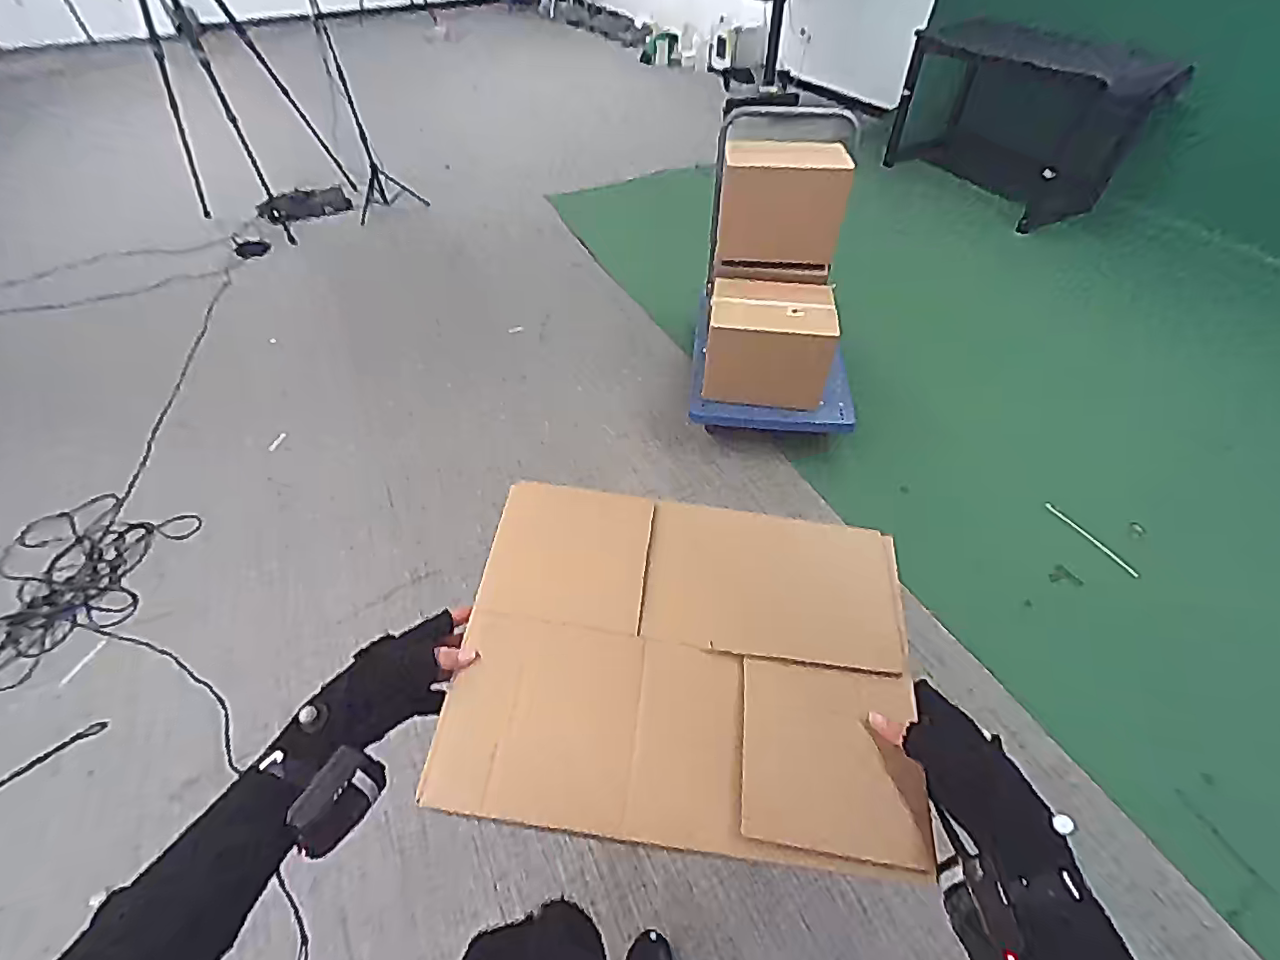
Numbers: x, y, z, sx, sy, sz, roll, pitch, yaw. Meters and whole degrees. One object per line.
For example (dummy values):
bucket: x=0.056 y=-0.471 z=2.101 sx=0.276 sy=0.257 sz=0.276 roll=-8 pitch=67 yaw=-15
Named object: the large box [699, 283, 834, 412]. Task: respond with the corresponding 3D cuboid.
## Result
large box: x=0.425 y=-0.465 z=1.901 sx=0.408 sy=0.320 sz=0.320 roll=7 pitch=48 yaw=5
